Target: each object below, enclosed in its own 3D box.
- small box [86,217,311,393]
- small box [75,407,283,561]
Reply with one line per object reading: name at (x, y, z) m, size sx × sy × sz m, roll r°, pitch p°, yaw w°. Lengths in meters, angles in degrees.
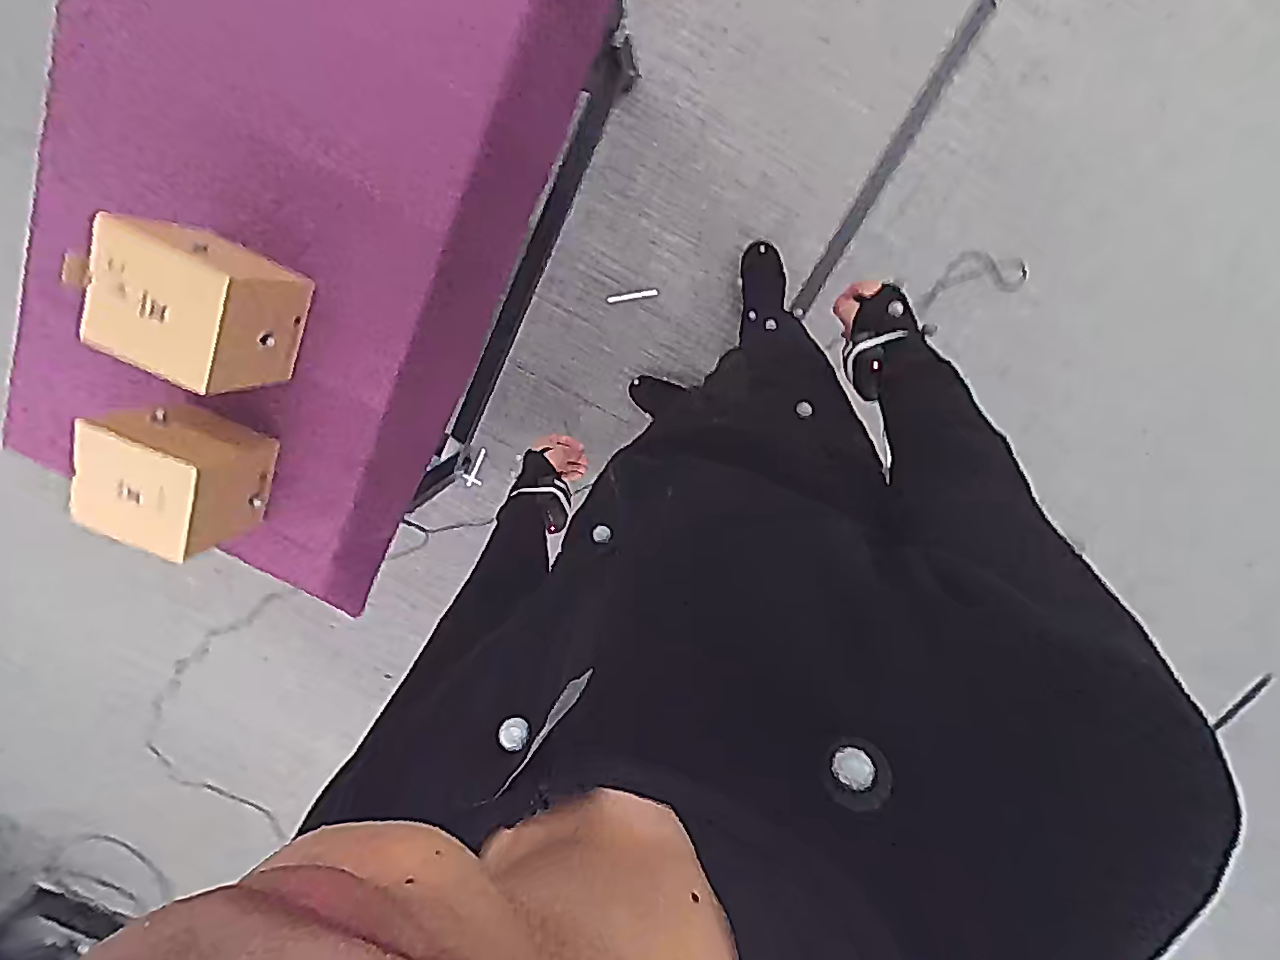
small box at (-0.613, -0.246, 0.770) m, size 0.179 × 0.176 × 0.168 m, roll 26°, pitch 107°, yaw -3°
small box at (-0.716, -0.005, 0.854) m, size 0.179 × 0.176 × 0.168 m, roll 24°, pitch 108°, yaw -2°
